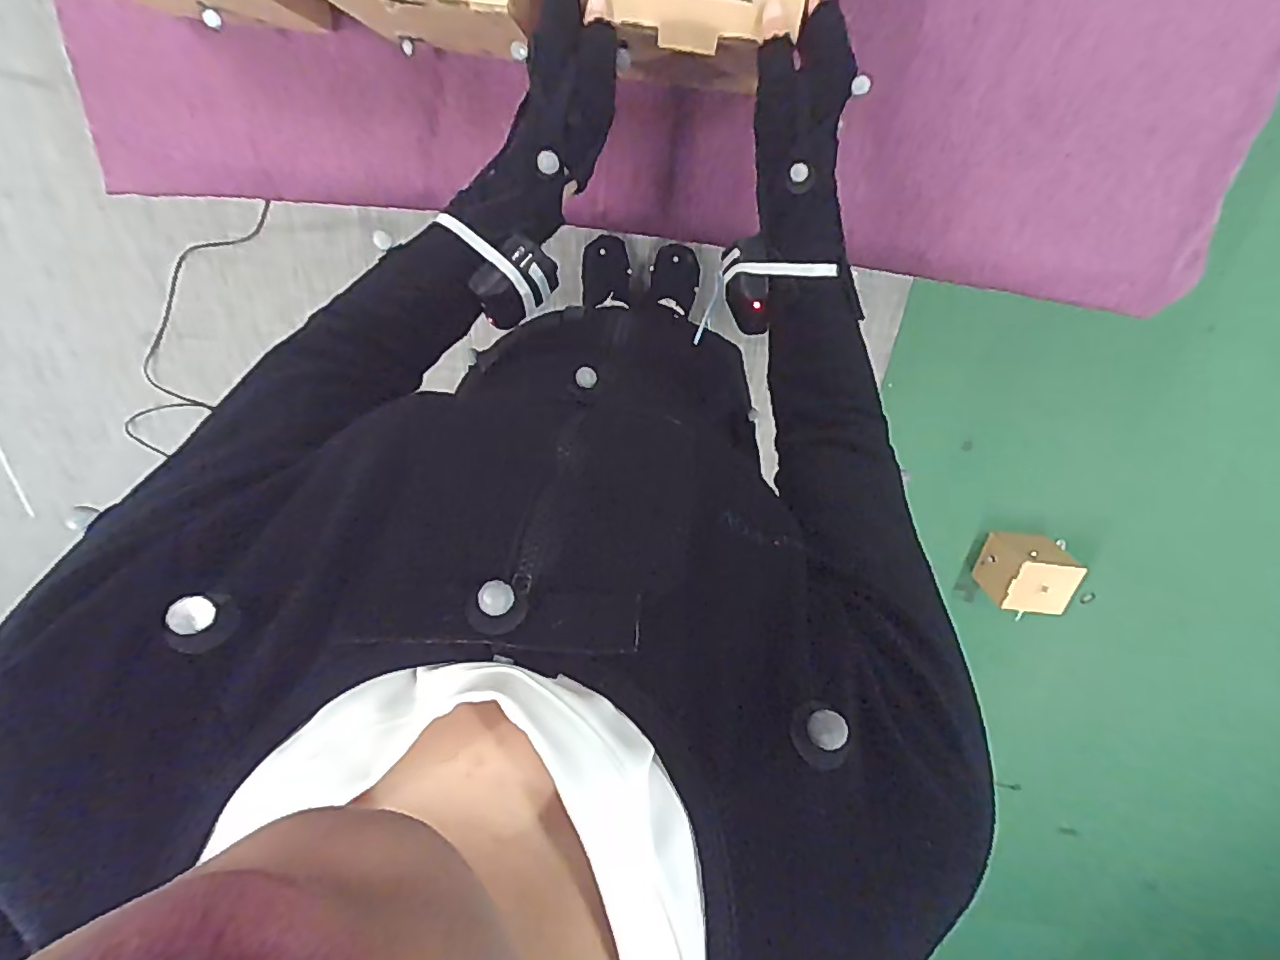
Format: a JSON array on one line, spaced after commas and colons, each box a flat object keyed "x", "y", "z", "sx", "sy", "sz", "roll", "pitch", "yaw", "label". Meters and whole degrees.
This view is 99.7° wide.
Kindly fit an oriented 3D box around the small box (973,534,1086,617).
[{"x": 1.118, "y": 0.272, "z": 1.570, "sx": 0.179, "sy": 0.176, "sz": 0.168, "roll": 7, "pitch": 117, "yaw": 0, "label": "small box"}]

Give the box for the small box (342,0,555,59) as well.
[{"x": -0.162, "y": -0.476, "z": 0.440, "sx": 0.168, "sy": 0.176, "sz": 0.179, "roll": 8, "pitch": 116, "yaw": -2, "label": "small box"}]

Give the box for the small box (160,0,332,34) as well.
[{"x": -0.380, "y": -0.502, "z": 0.435, "sx": 0.168, "sy": 0.176, "sz": 0.179, "roll": 7, "pitch": 117, "yaw": -1, "label": "small box"}]
